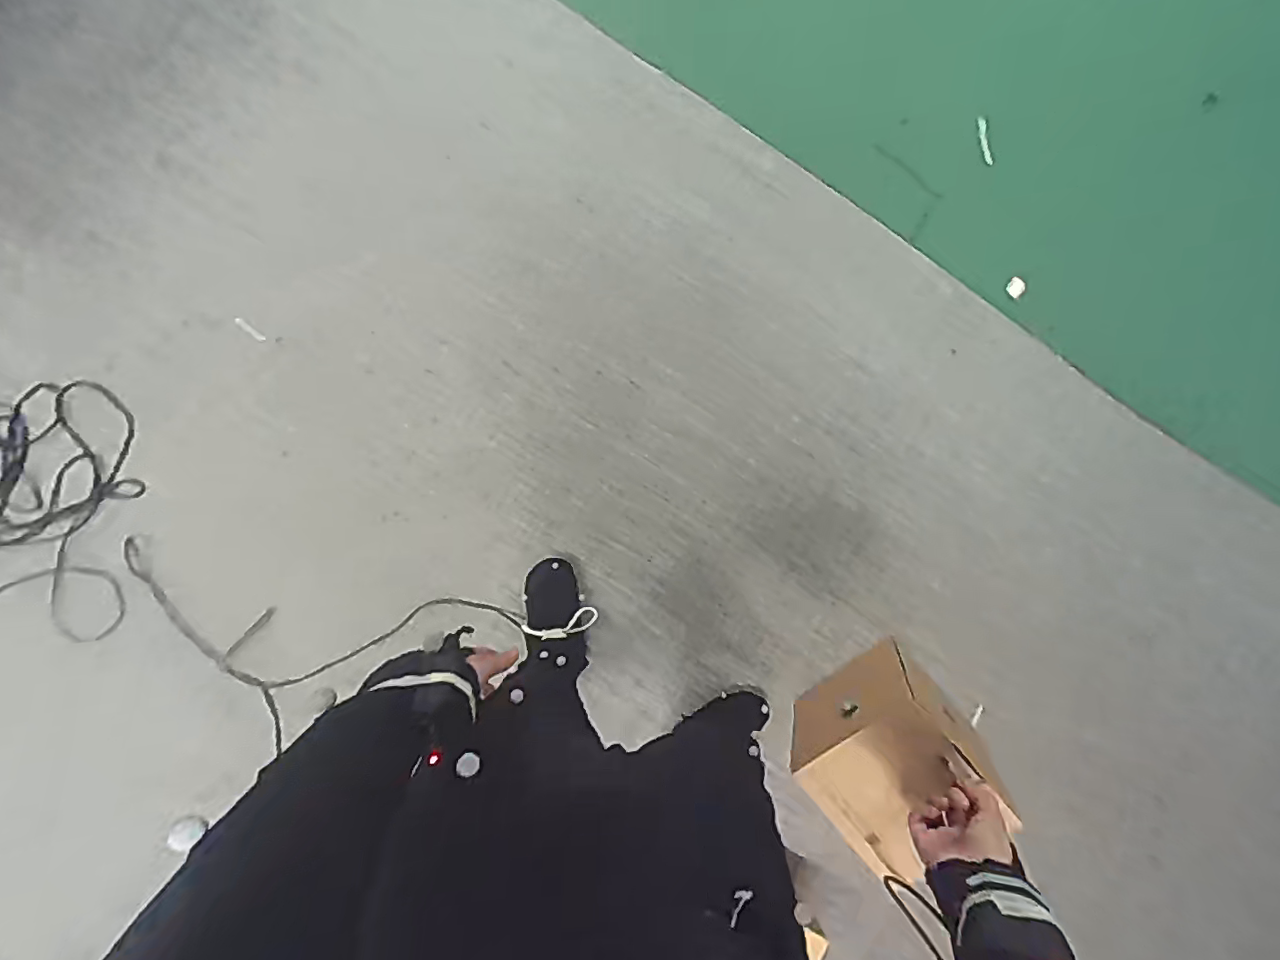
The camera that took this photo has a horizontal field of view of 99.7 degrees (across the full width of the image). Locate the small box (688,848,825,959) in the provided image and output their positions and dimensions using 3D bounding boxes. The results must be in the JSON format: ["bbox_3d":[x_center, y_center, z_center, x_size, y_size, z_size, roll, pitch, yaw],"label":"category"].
[{"bbox_3d":[0.216,0.870,1.051,0.179,0.176,0.168,33,84,-2],"label":"small box"}]

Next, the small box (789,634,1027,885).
[{"bbox_3d":[0.296,0.321,0.641,0.176,0.179,0.168,-42,81,16],"label":"small box"}]
